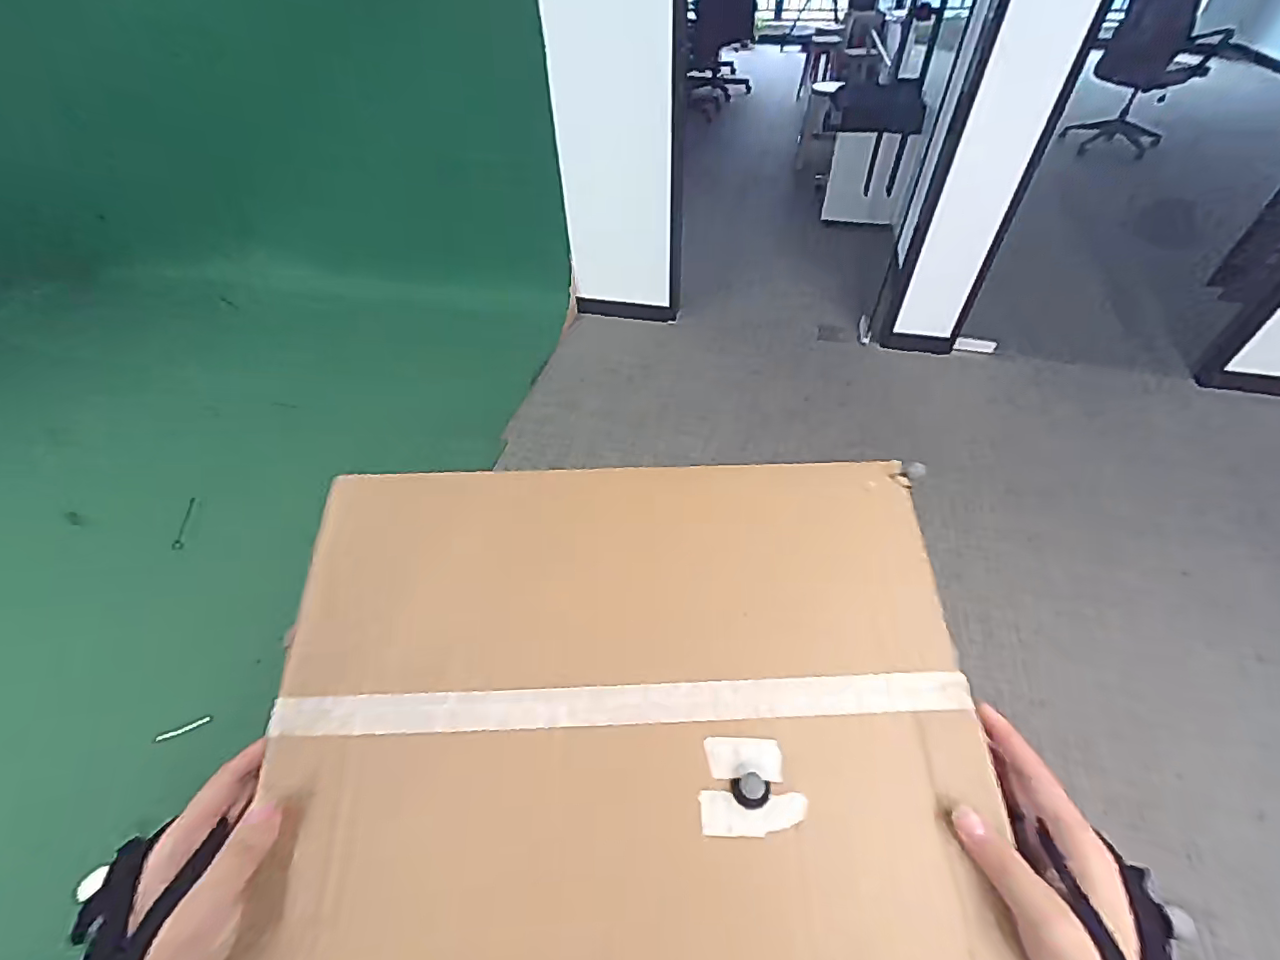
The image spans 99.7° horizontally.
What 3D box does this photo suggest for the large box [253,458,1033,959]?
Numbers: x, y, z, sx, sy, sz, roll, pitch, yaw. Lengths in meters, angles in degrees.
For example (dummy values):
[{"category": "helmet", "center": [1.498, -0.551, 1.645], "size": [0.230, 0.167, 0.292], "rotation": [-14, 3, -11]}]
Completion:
[{"category": "large box", "center": [-0.009, 0.196, 0.465], "size": [0.408, 0.320, 0.320], "rotation": [-2, 64, -3]}]
